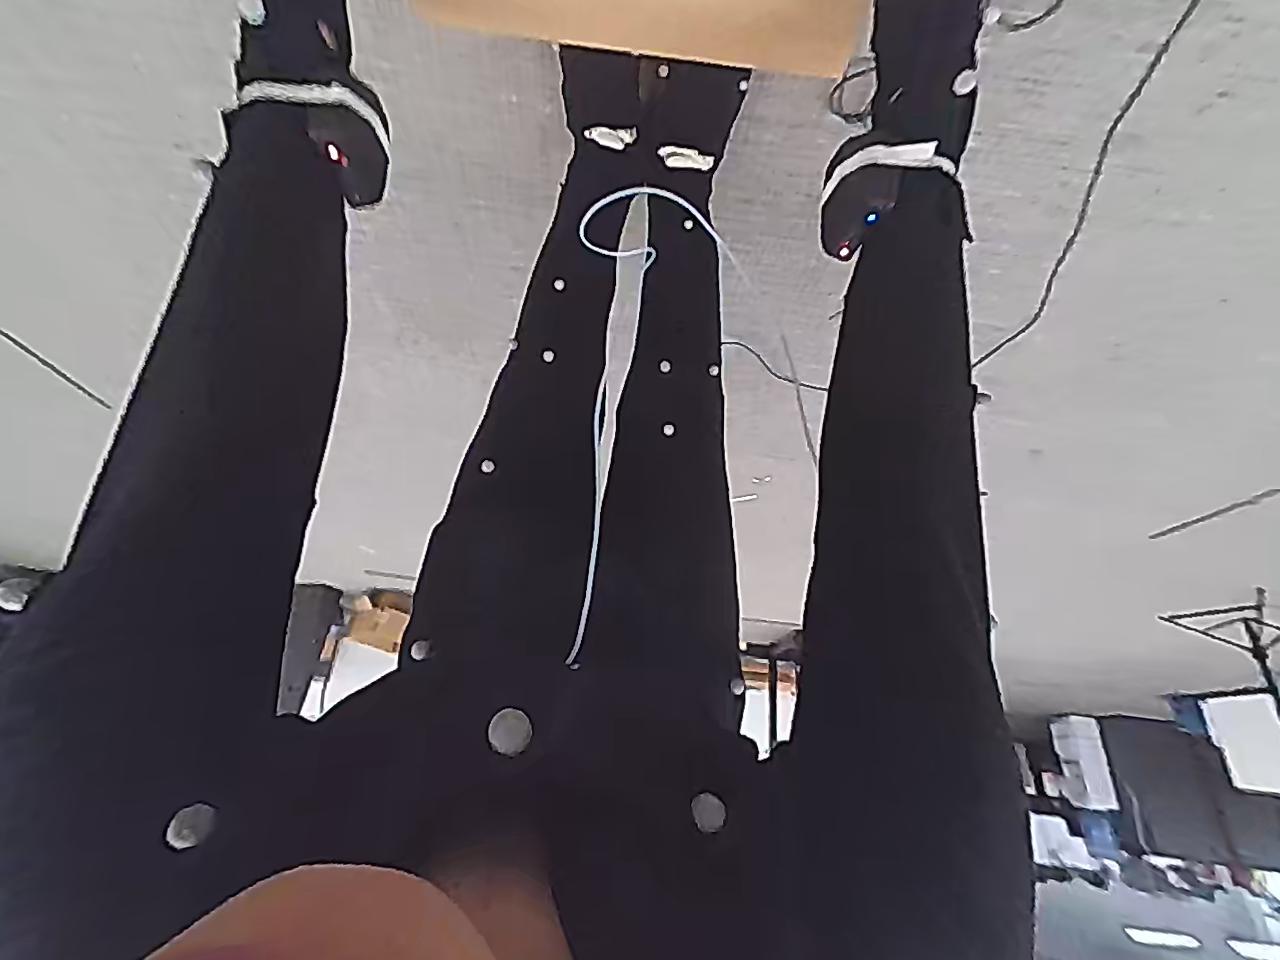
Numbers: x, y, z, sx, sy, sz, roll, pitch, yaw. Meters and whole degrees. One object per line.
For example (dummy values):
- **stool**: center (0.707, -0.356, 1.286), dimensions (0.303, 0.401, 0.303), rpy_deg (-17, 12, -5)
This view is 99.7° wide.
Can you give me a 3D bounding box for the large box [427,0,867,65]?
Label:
- **large box**: center (0.019, -0.616, 0.449), dimensions (0.408, 0.320, 0.320), rpy_deg (7, 153, -1)
